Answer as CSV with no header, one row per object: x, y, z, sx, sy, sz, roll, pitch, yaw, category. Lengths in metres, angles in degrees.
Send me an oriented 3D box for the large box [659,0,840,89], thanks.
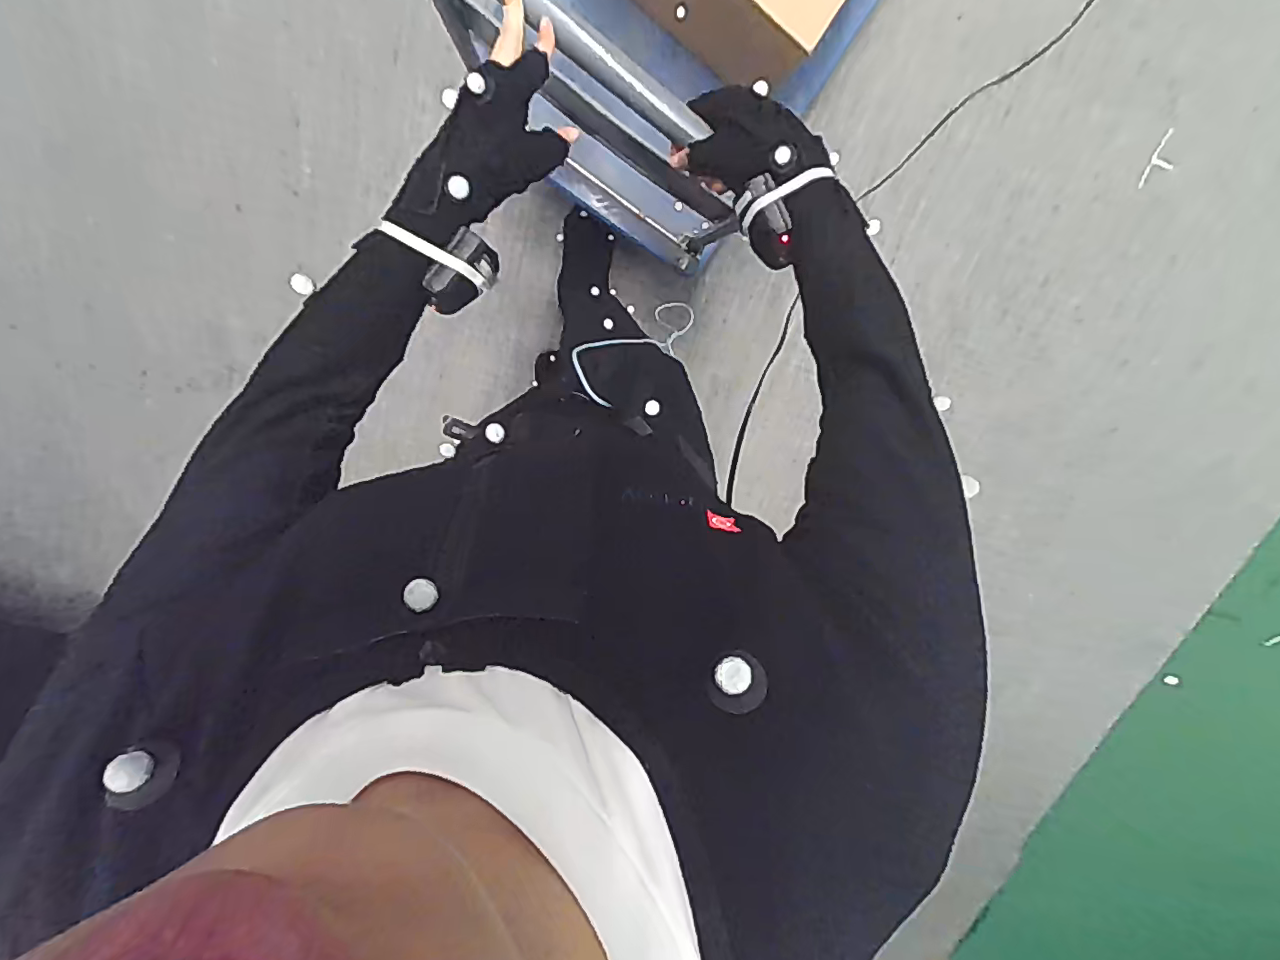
0.171,-0.911,0.824,0.408,0.320,0.320,32,107,-13,large box
